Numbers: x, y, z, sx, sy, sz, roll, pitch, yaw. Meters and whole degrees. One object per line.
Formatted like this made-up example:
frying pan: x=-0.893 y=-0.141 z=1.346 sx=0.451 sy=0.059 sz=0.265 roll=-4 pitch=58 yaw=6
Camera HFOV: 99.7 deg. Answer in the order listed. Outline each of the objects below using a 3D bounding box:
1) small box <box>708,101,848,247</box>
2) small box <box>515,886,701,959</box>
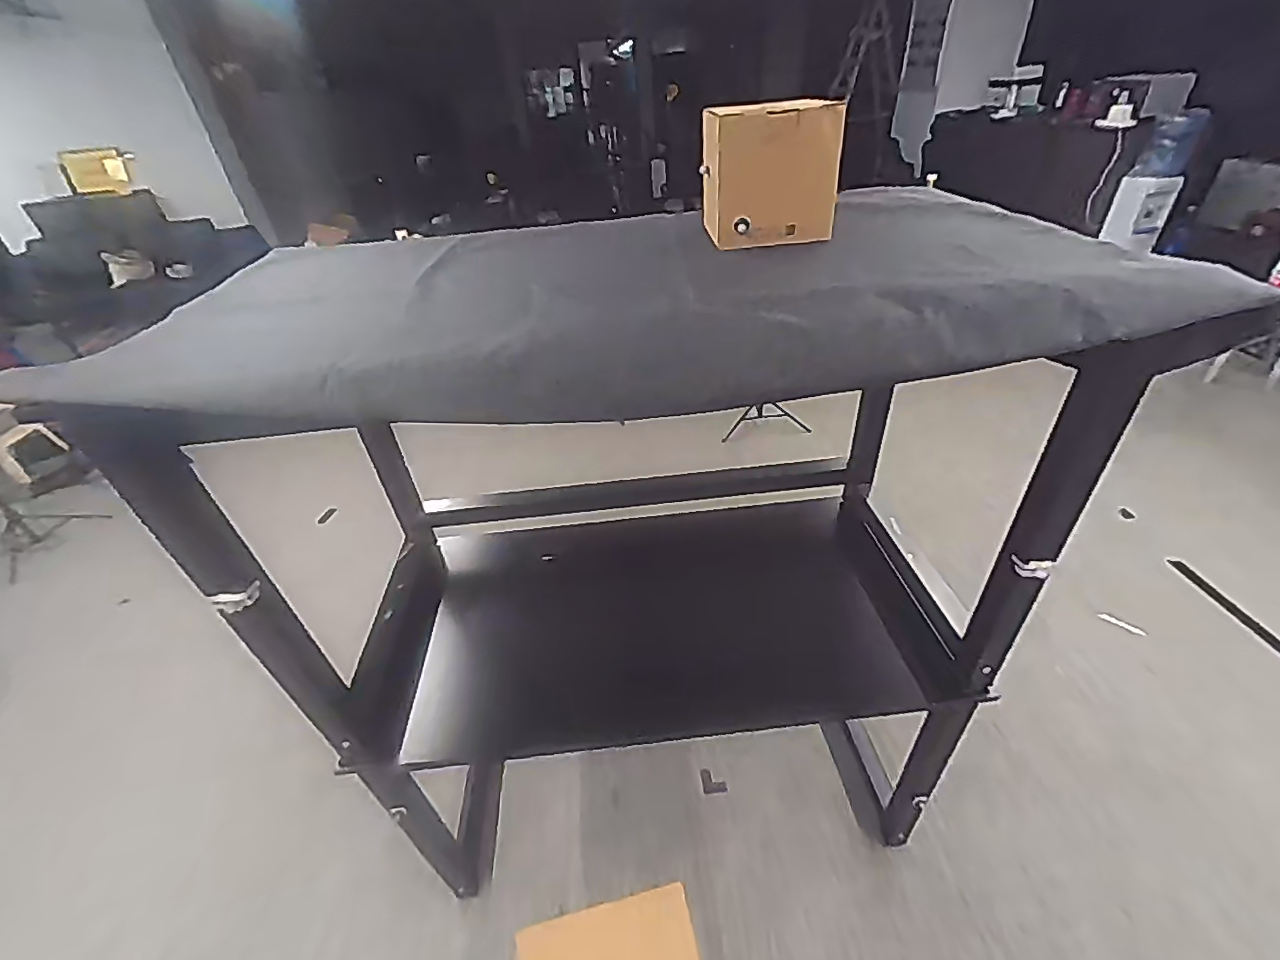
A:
small box: x=0.193 y=-0.453 z=0.808 sx=0.168 sy=0.176 sz=0.179 roll=-4 pitch=36 yaw=1
small box: x=-0.016 y=0.540 z=0.543 sx=0.179 sy=0.176 sz=0.168 roll=-14 pitch=44 yaw=-4
